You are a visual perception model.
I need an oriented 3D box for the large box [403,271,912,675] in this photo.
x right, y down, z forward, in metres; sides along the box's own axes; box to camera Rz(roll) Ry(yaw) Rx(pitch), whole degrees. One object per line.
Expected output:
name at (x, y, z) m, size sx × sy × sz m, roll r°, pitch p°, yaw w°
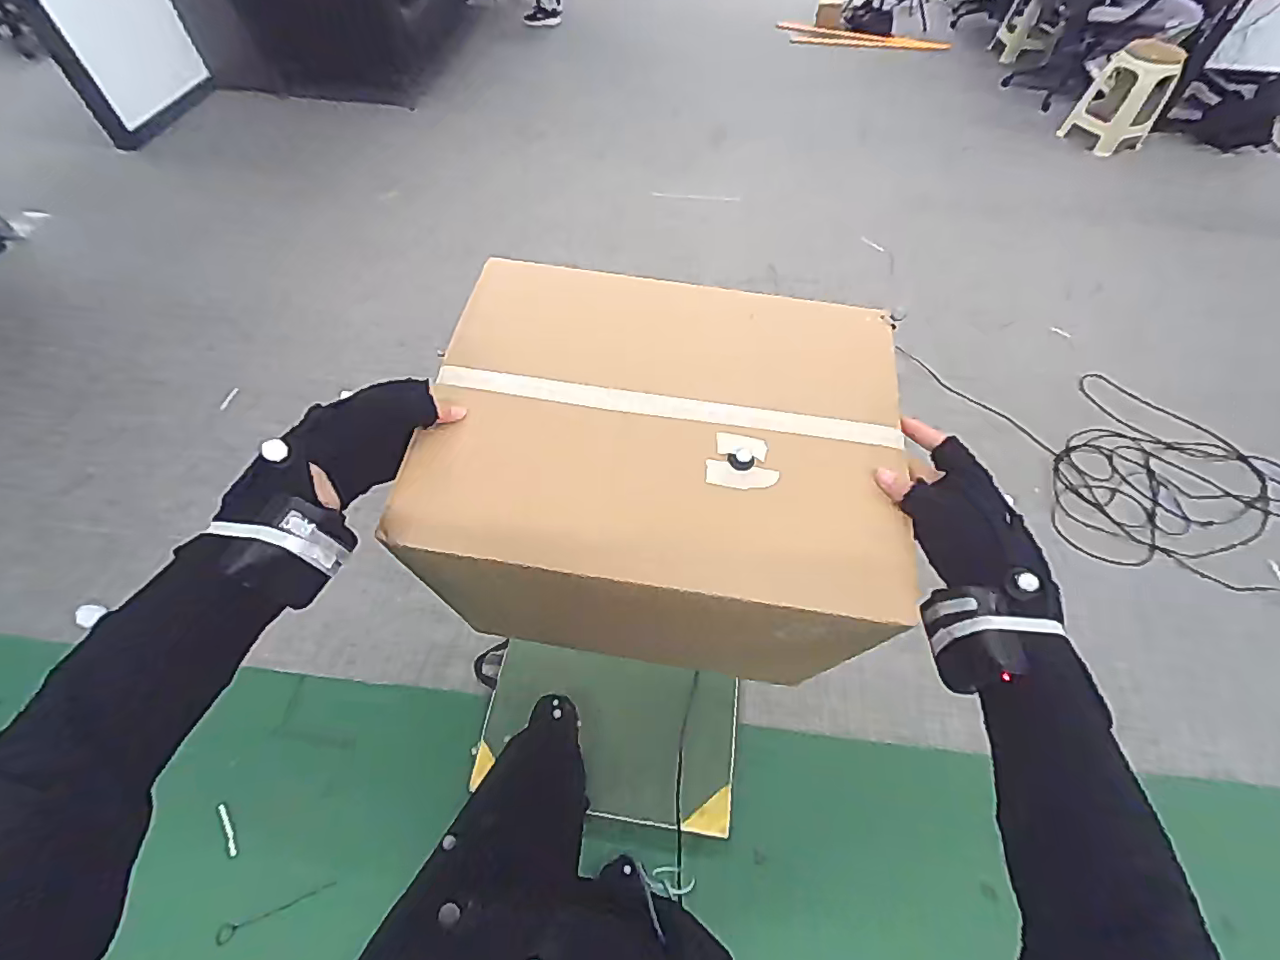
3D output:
large box at (0.021, 0.012, 0.613) m, size 0.408 × 0.320 × 0.320 m, roll 9°, pitch 62°, yaw 1°
